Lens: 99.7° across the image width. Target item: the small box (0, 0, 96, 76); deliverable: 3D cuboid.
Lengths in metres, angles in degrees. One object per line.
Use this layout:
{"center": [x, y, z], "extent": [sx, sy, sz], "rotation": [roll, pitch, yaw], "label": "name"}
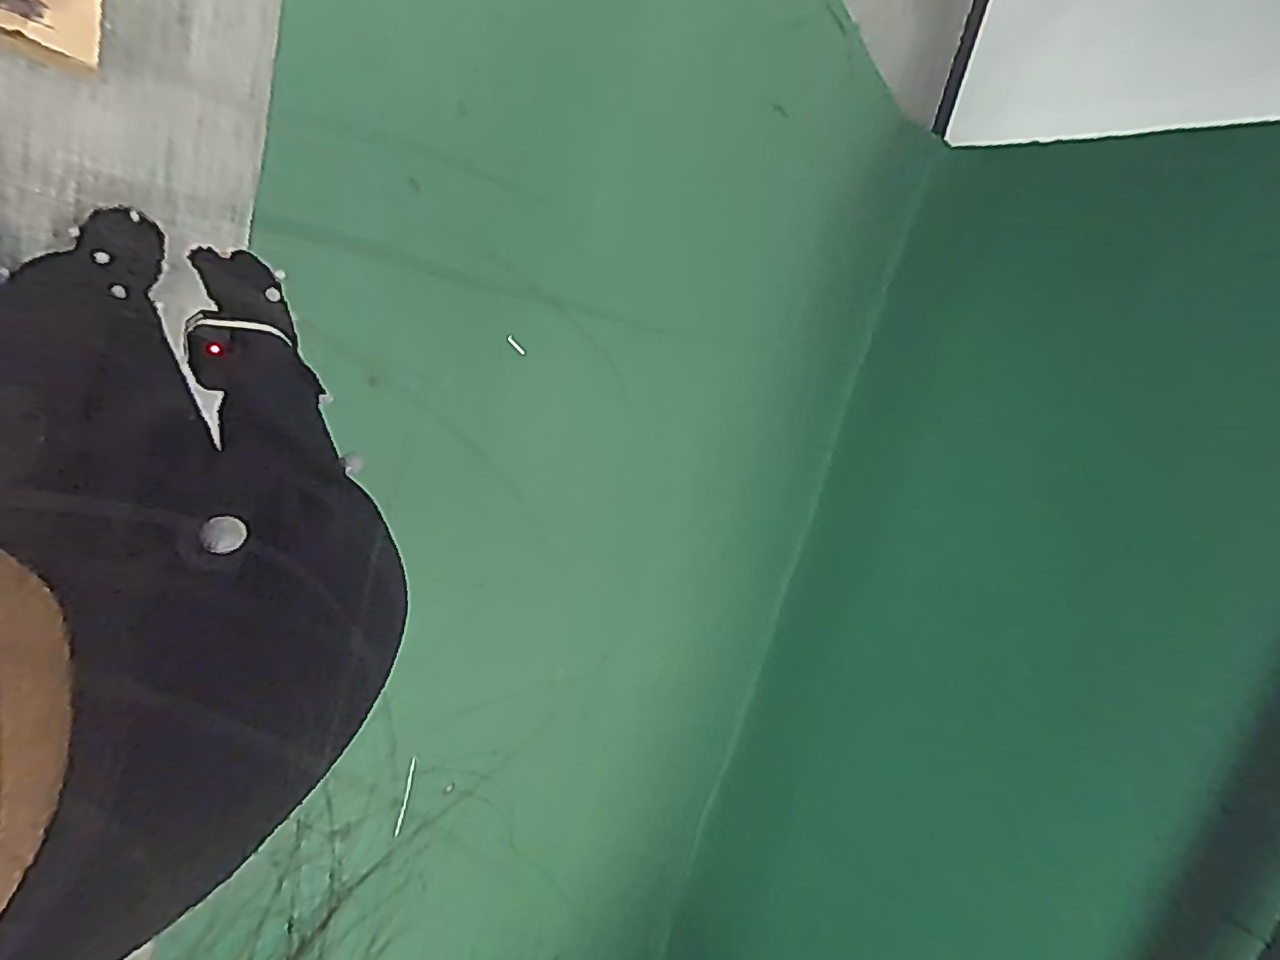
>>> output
{"center": [-0.927, -0.745, 0.803], "extent": [0.168, 0.176, 0.179], "rotation": [2, 106, -48], "label": "small box"}
